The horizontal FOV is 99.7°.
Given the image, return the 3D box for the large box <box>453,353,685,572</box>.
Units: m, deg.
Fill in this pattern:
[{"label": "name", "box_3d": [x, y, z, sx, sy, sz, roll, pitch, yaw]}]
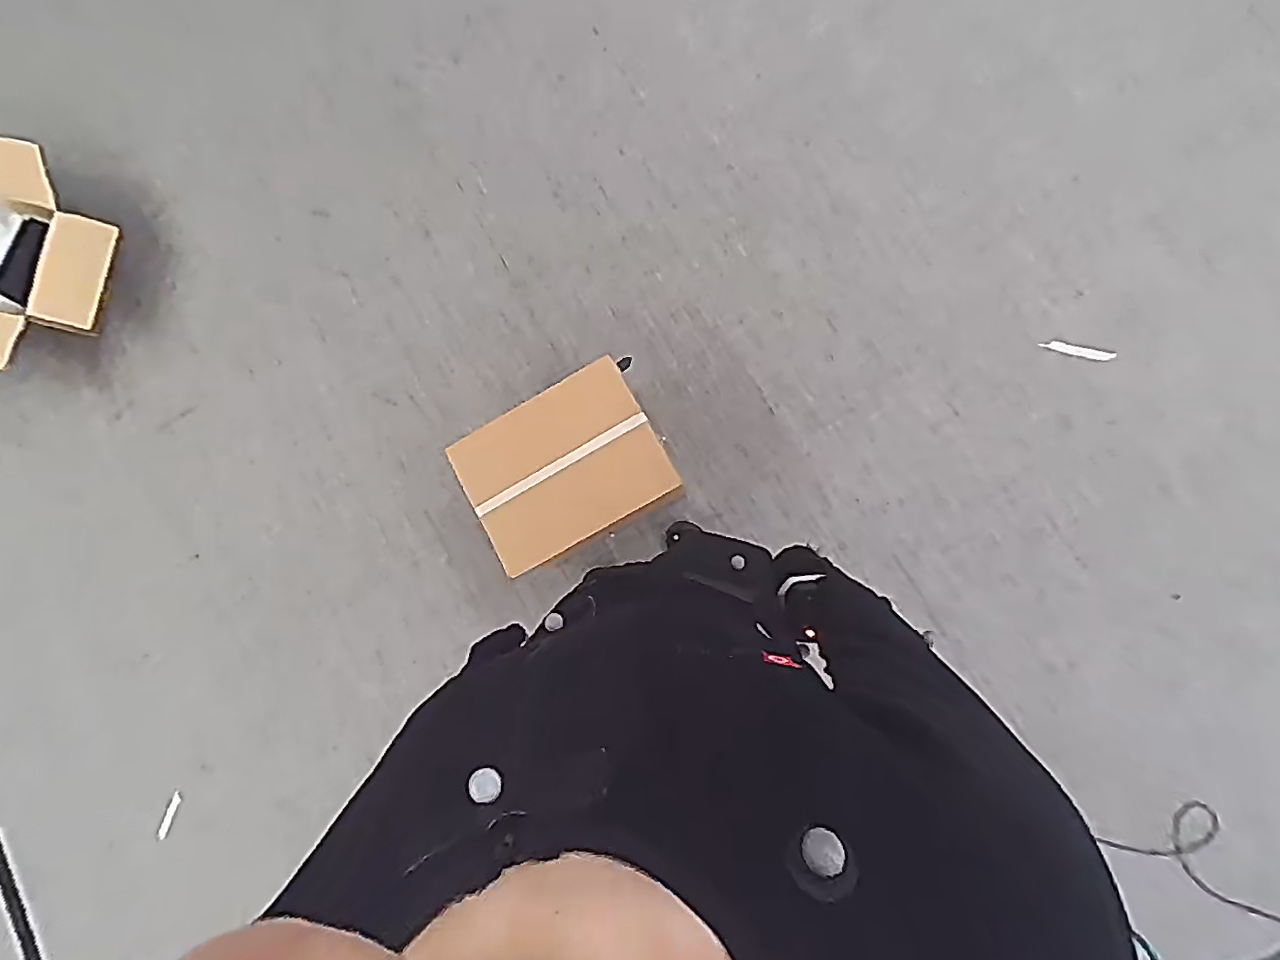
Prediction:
[{"label": "large box", "box_3d": [-0.143, -0.024, 1.267, 0.408, 0.320, 0.320, -29, 84, 4]}]
